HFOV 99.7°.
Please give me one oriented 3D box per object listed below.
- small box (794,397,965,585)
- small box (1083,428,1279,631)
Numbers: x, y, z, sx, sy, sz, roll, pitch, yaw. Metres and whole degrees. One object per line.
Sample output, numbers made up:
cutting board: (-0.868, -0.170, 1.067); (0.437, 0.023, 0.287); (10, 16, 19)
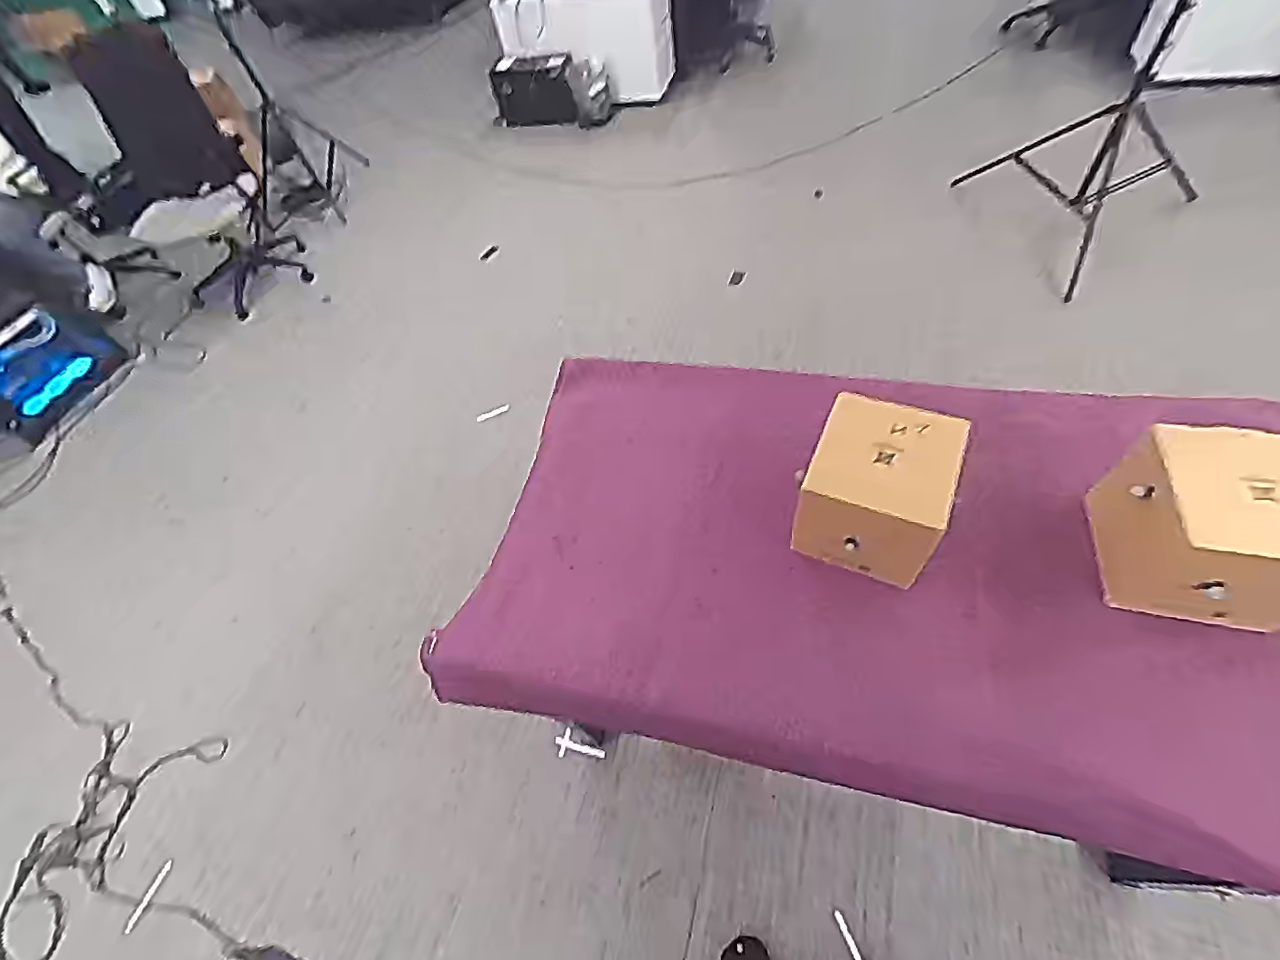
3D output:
small box: (0.320, 0.019, 0.749); (0.168, 0.176, 0.179); (19, 60, 21)
small box: (0.683, 0.063, 0.656); (0.168, 0.176, 0.179); (8, 55, 16)
